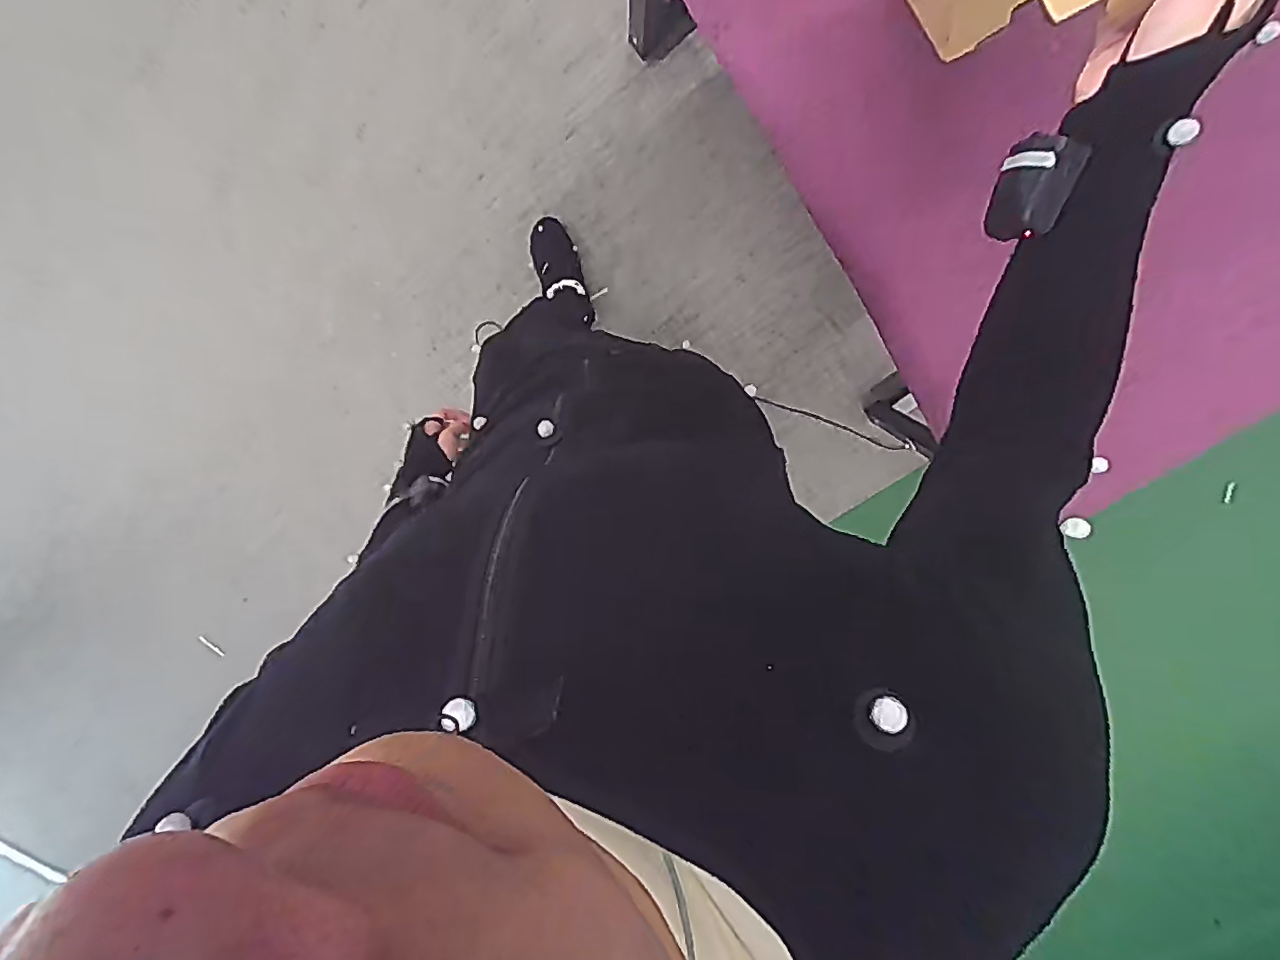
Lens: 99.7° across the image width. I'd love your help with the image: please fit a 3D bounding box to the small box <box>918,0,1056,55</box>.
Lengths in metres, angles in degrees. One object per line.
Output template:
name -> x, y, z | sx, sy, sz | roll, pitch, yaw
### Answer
small box -> 0.335, -0.551, 0.478 | 0.168, 0.179, 0.176 | -20, 67, 20
